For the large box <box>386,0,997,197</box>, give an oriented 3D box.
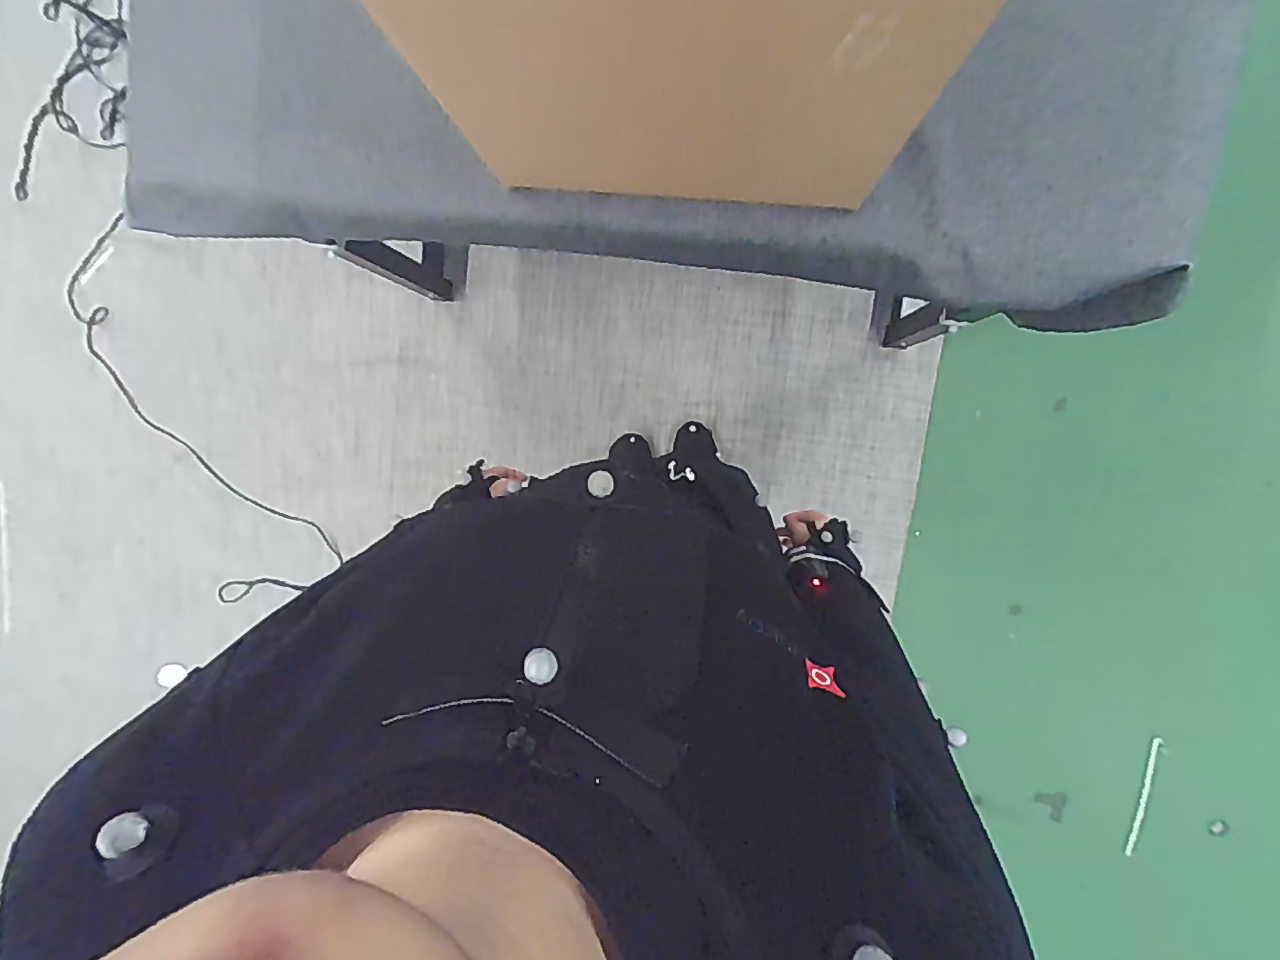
[{"bbox_3d":[0.042,-0.461,0.445,0.408,0.320,0.320,5,96,4],"label":"large box"}]
